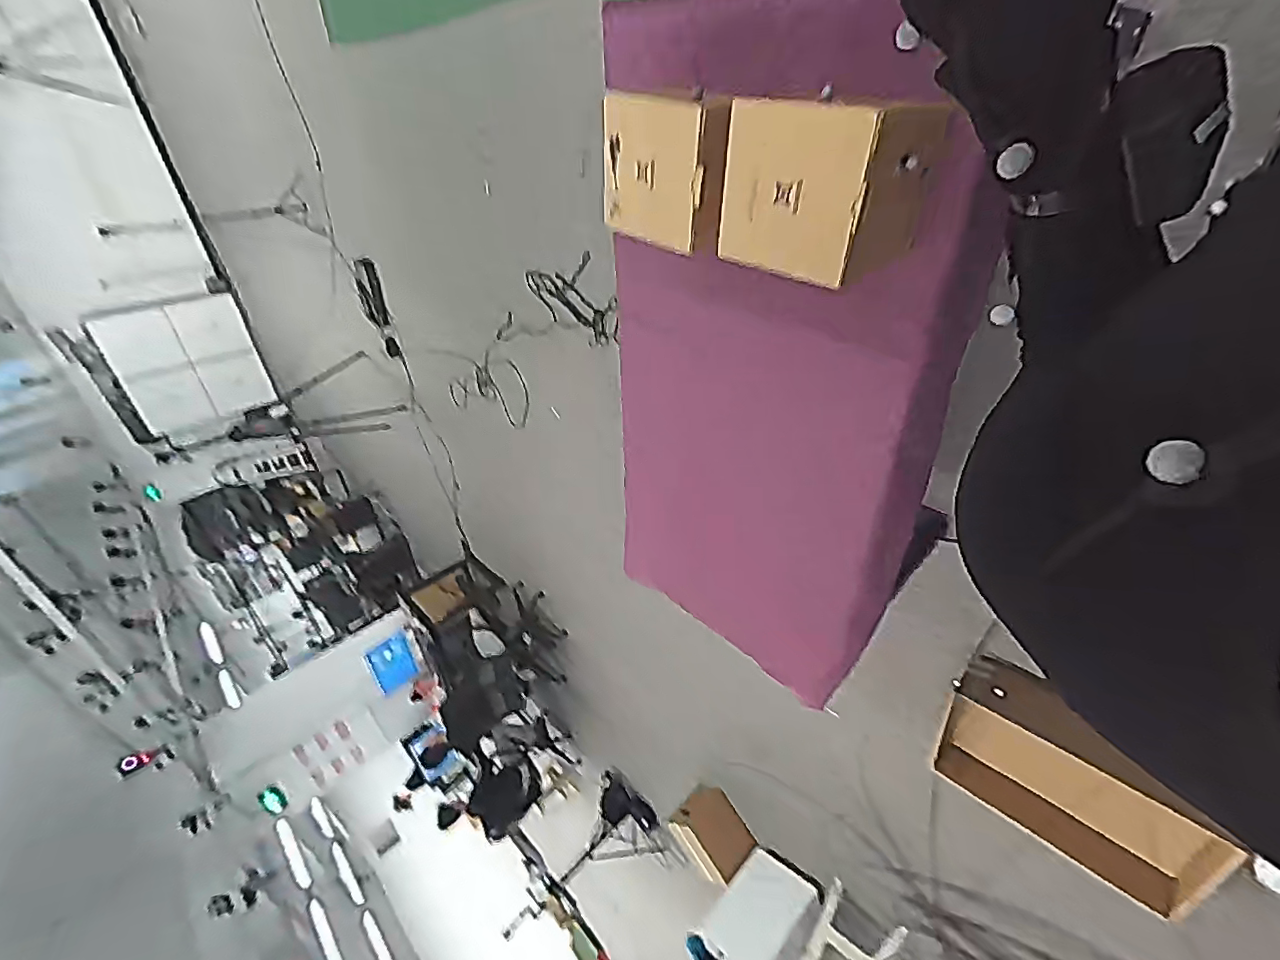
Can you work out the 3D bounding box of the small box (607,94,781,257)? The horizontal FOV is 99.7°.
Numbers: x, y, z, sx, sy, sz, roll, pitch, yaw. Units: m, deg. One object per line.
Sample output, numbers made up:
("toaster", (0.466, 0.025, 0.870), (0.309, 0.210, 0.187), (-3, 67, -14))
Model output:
("small box", (0.072, -0.434, 0.760), (0.179, 0.176, 0.168), (33, 138, 32))
